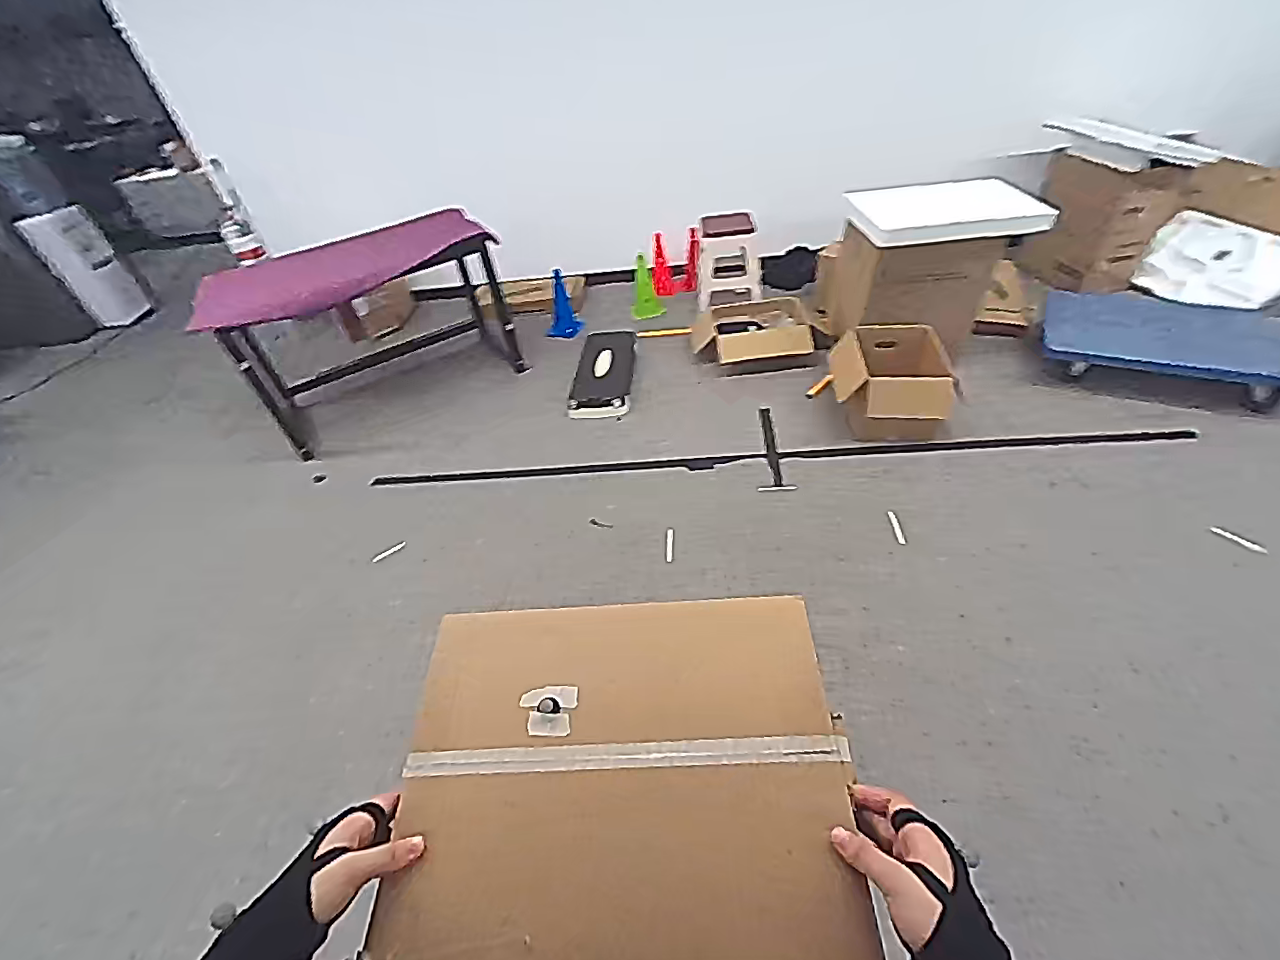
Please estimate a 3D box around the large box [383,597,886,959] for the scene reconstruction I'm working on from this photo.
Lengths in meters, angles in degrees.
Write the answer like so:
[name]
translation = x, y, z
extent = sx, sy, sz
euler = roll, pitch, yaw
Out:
[large box]
translation = 0.007, 0.359, 0.623
extent = 0.408, 0.320, 0.320
euler = -5, 48, 6
